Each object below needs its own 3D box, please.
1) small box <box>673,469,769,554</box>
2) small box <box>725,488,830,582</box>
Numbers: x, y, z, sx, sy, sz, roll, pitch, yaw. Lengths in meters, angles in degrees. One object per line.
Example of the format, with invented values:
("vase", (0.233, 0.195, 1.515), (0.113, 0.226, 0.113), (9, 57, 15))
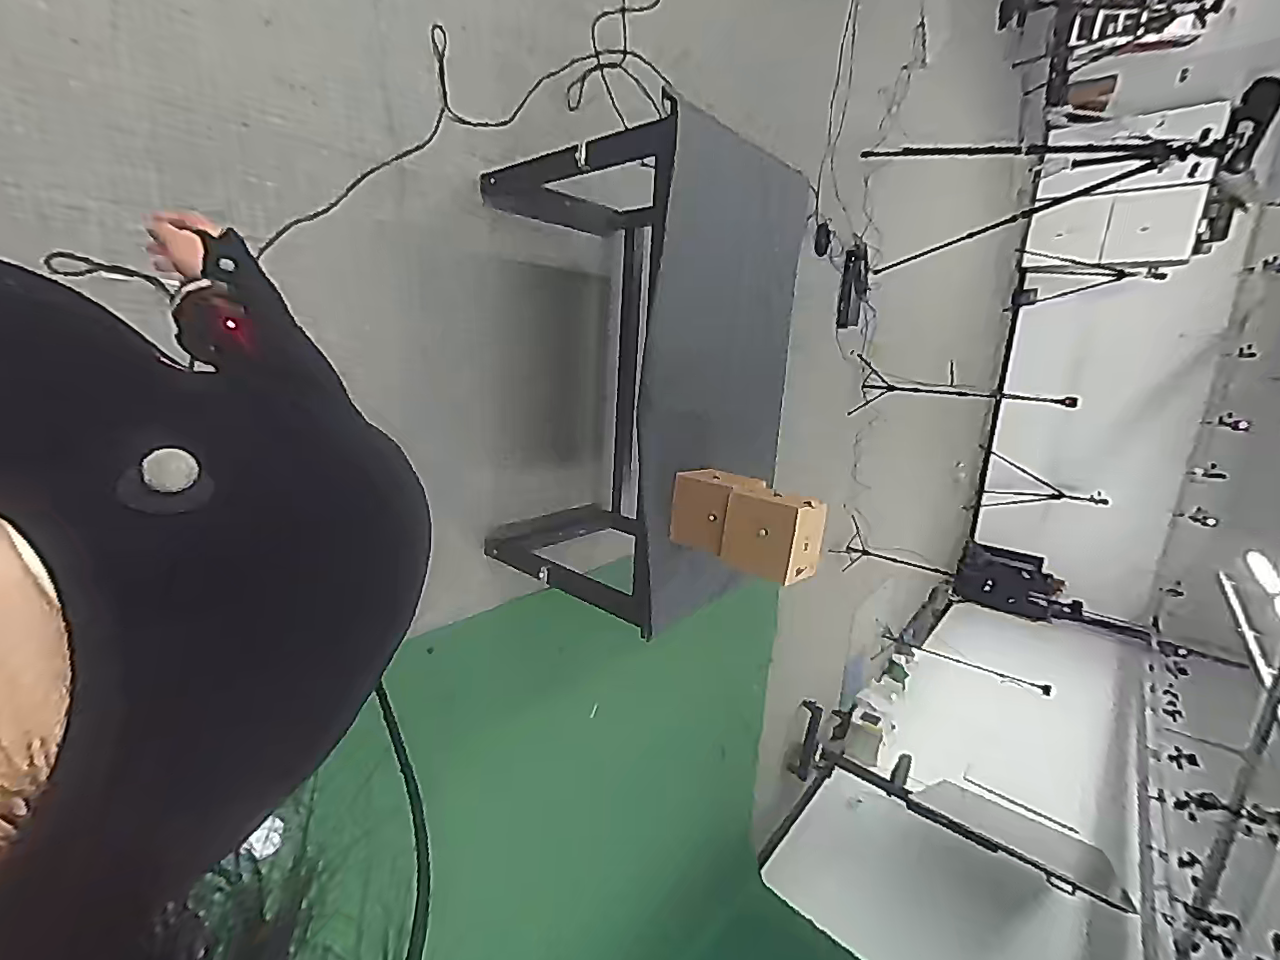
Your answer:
("small box", (0.198, 0.070, 1.341), (0.168, 0.176, 0.179), (-7, 107, -49))
("small box", (0.310, 0.114, 1.228), (0.168, 0.176, 0.179), (-3, 102, -50))
